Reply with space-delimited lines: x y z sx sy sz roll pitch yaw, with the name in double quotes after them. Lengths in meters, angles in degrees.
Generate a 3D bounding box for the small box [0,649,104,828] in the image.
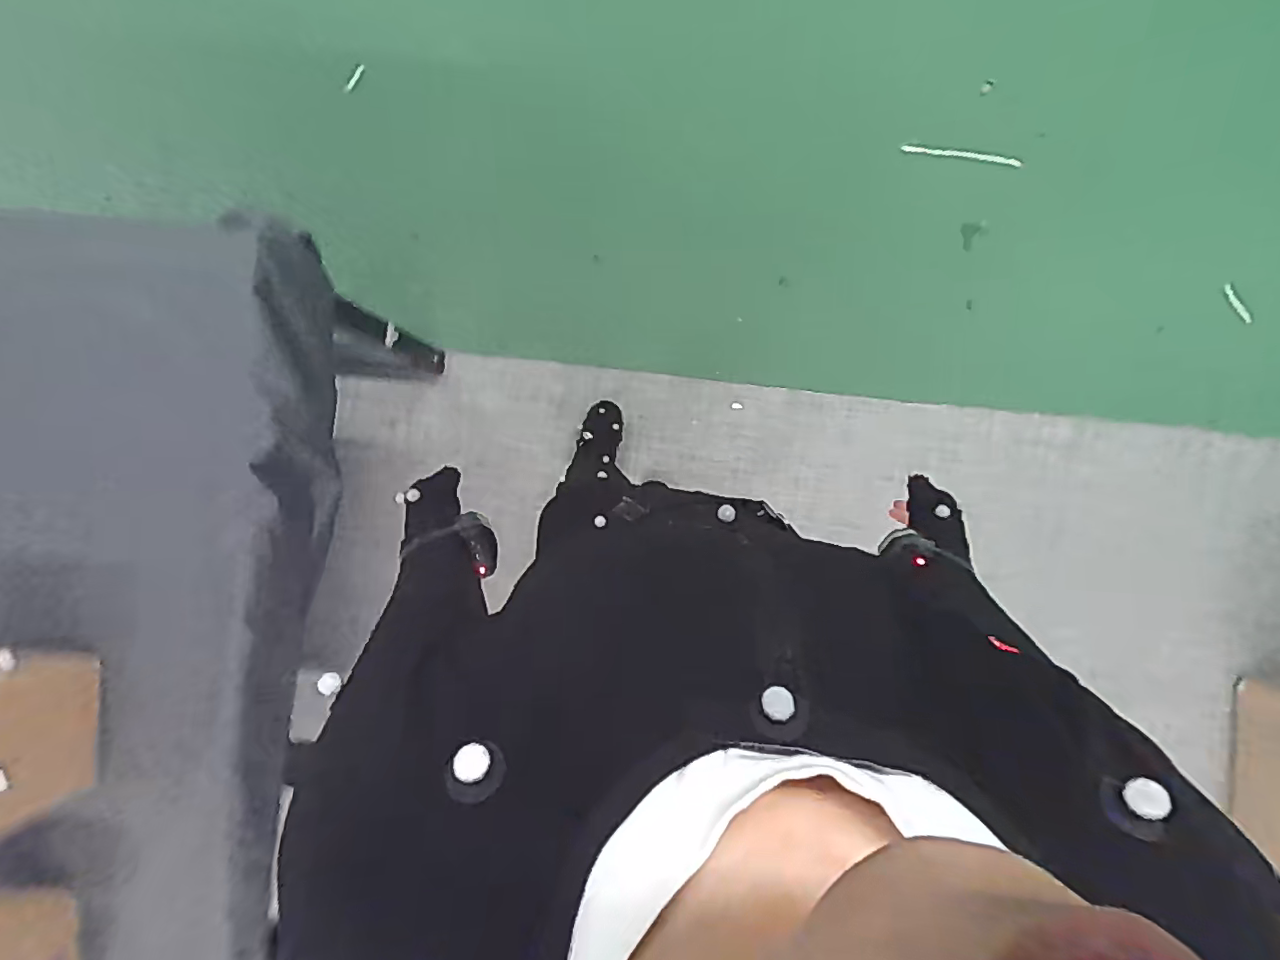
-0.829 0.330 0.673 0.168 0.176 0.179 4 91 0 "small box"
